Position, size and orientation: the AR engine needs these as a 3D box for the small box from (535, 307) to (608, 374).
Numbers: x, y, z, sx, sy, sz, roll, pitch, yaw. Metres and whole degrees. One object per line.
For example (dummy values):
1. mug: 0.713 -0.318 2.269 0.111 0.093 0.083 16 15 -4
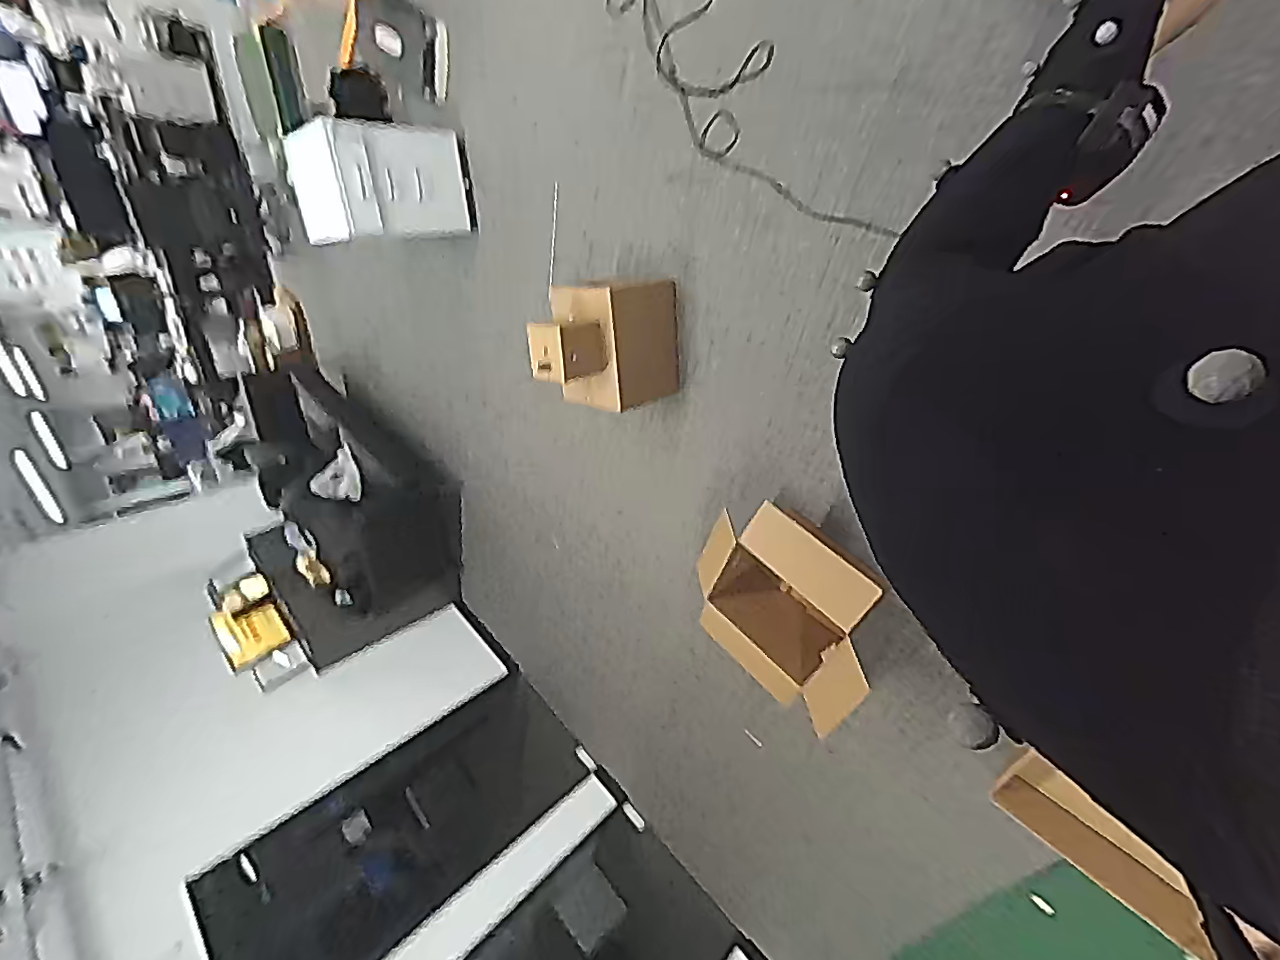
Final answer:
1. small box: -0.220 -0.460 1.772 0.168 0.176 0.179 19 123 39
